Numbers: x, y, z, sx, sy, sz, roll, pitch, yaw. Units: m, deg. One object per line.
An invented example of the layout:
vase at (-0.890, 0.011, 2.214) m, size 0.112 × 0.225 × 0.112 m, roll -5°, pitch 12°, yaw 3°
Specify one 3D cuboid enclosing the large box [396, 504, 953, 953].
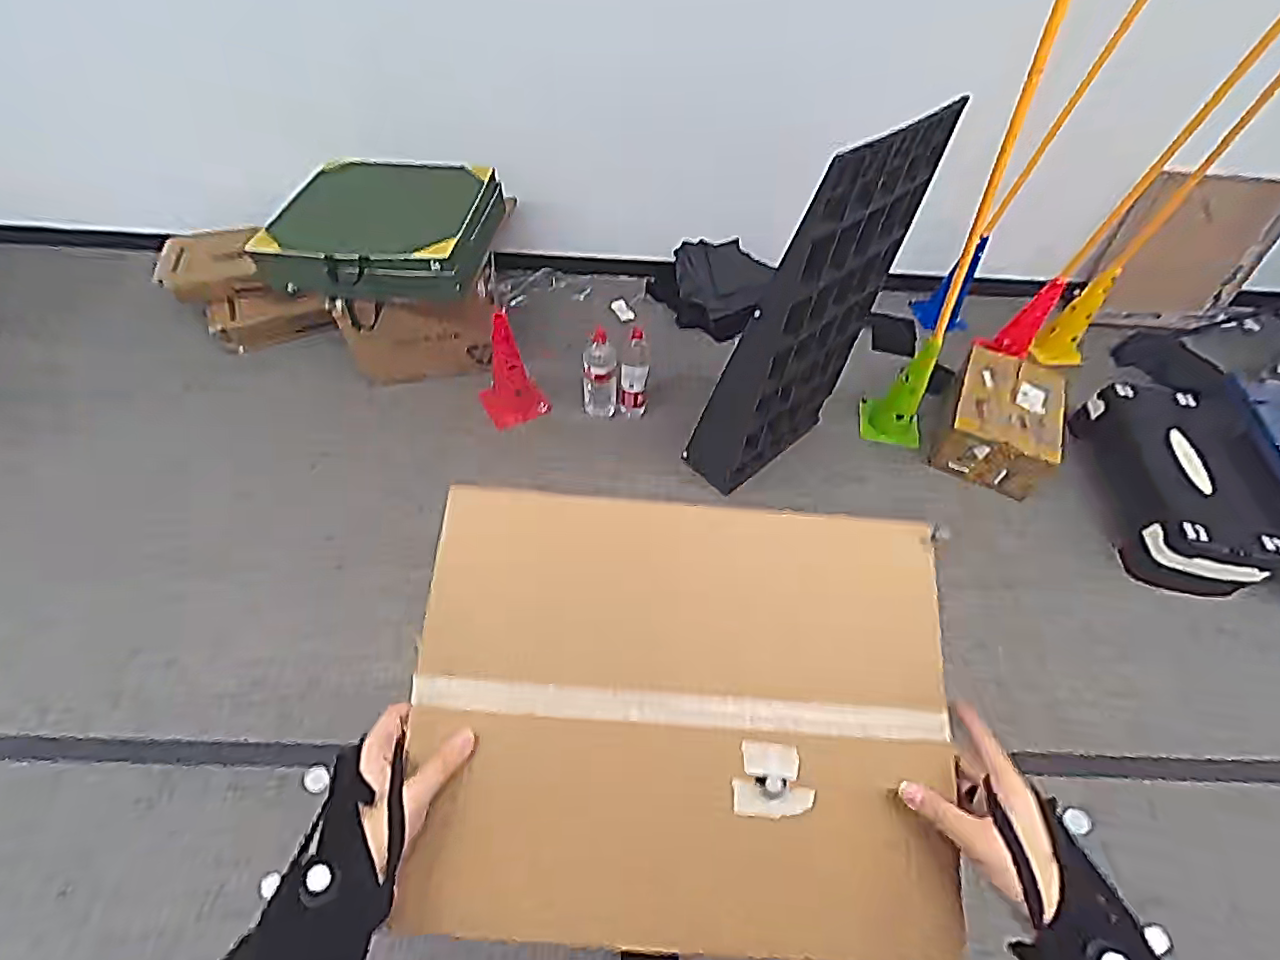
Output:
large box at (0.026, 0.221, 0.562) m, size 0.408 × 0.320 × 0.320 m, roll 4°, pitch 74°, yaw -2°
